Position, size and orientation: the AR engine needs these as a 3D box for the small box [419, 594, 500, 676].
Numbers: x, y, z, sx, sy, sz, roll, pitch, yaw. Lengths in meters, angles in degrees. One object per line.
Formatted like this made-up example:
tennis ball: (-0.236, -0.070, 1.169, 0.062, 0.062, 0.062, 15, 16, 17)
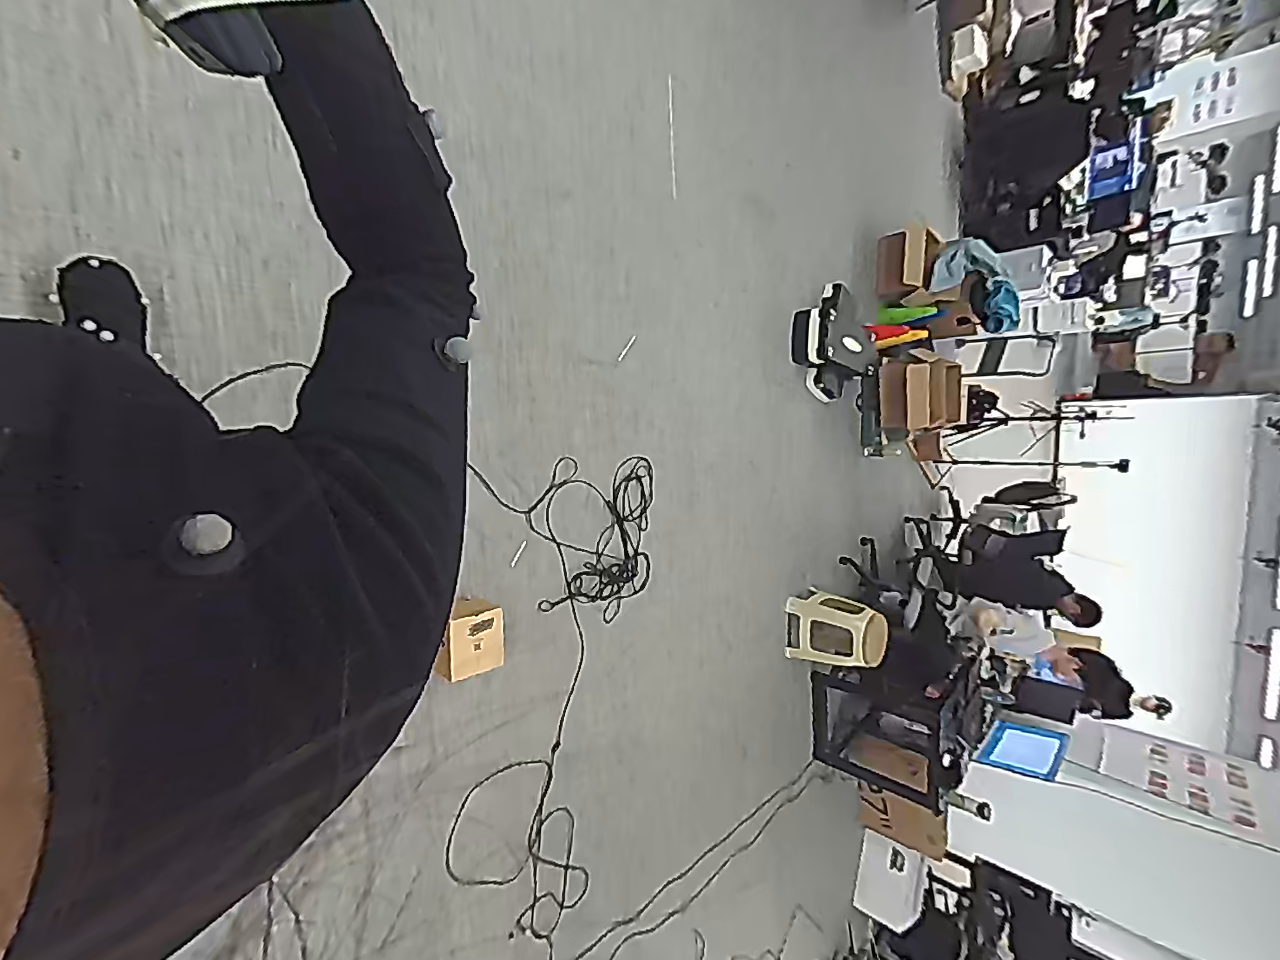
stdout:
small box: (-0.525, 0.437, 1.565, 0.168, 0.176, 0.179, -5, 97, -46)
